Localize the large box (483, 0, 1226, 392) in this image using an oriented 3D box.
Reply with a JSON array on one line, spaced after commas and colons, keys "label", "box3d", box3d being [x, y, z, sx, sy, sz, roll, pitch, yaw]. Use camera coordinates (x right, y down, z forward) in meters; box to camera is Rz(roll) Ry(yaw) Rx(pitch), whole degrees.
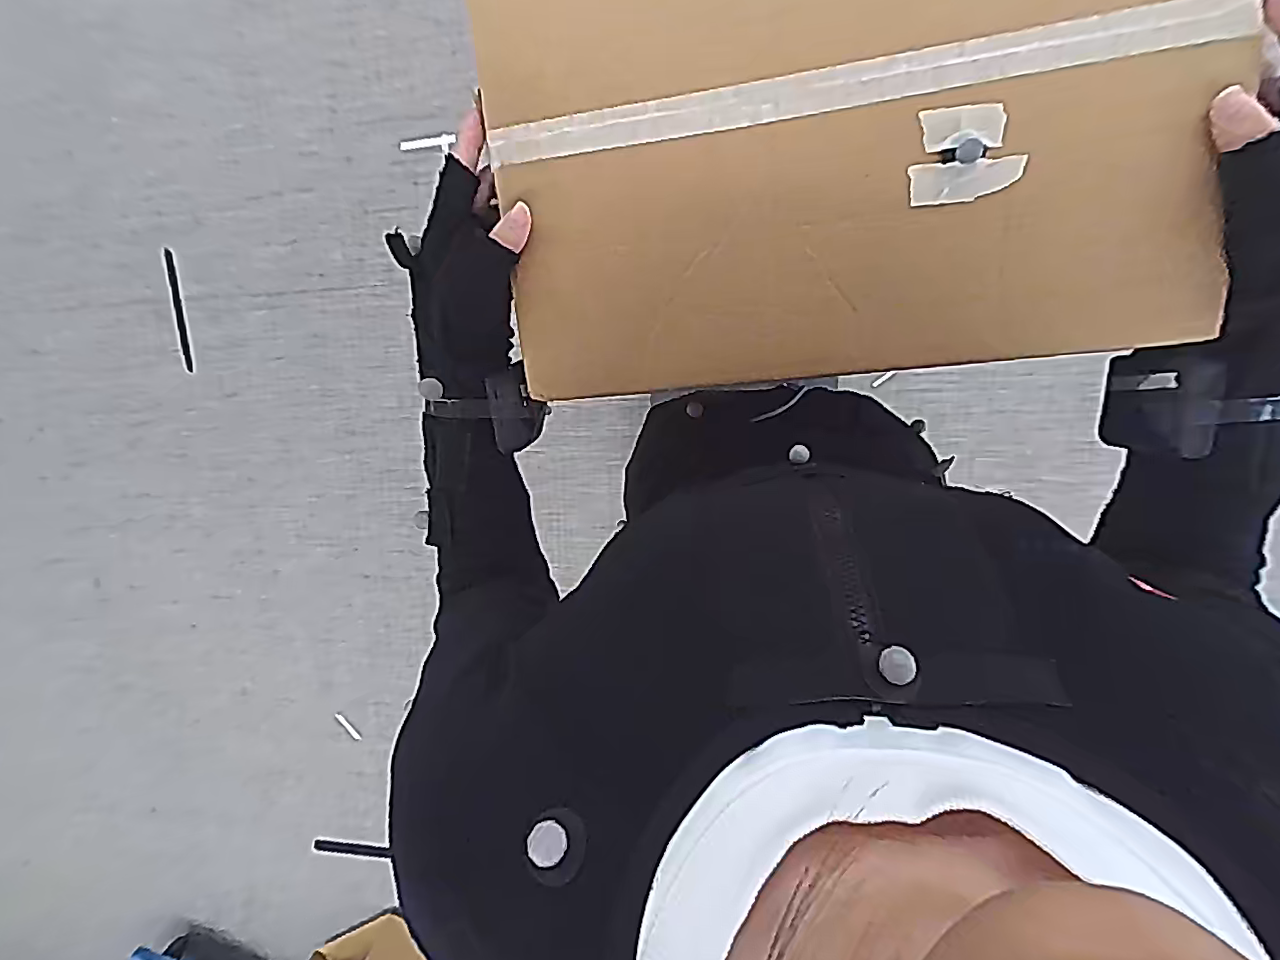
[{"label": "large box", "box3d": [0.128, -0.260, 0.457, 0.408, 0.320, 0.320, -4, 104, 9]}]
